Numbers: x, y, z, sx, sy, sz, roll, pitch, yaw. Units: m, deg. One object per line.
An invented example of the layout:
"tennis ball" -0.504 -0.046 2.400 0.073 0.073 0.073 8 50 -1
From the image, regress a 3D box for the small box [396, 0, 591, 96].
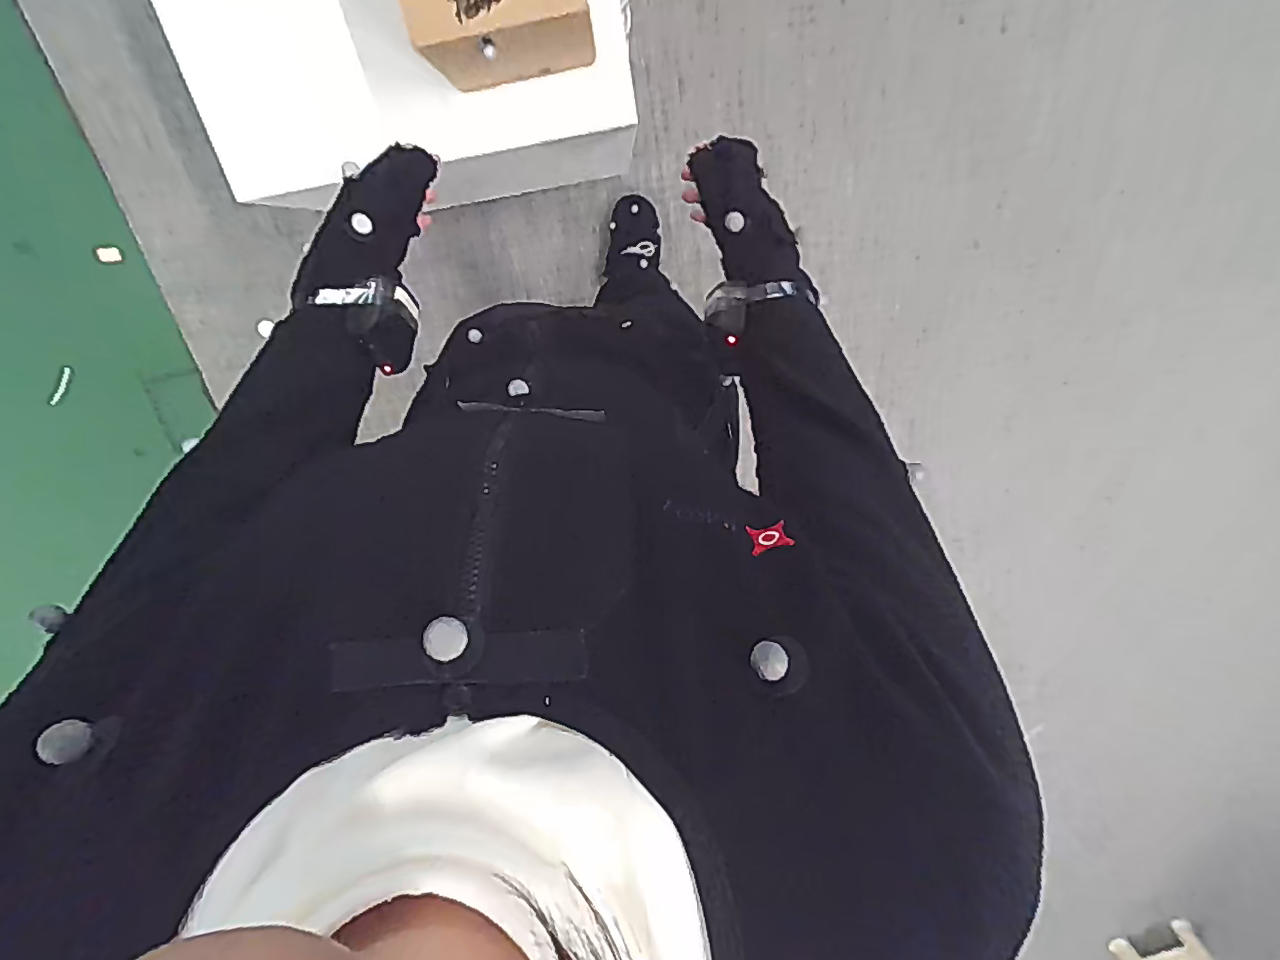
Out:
"small box" -0.146 -0.513 0.527 0.168 0.176 0.179 -10 113 3
